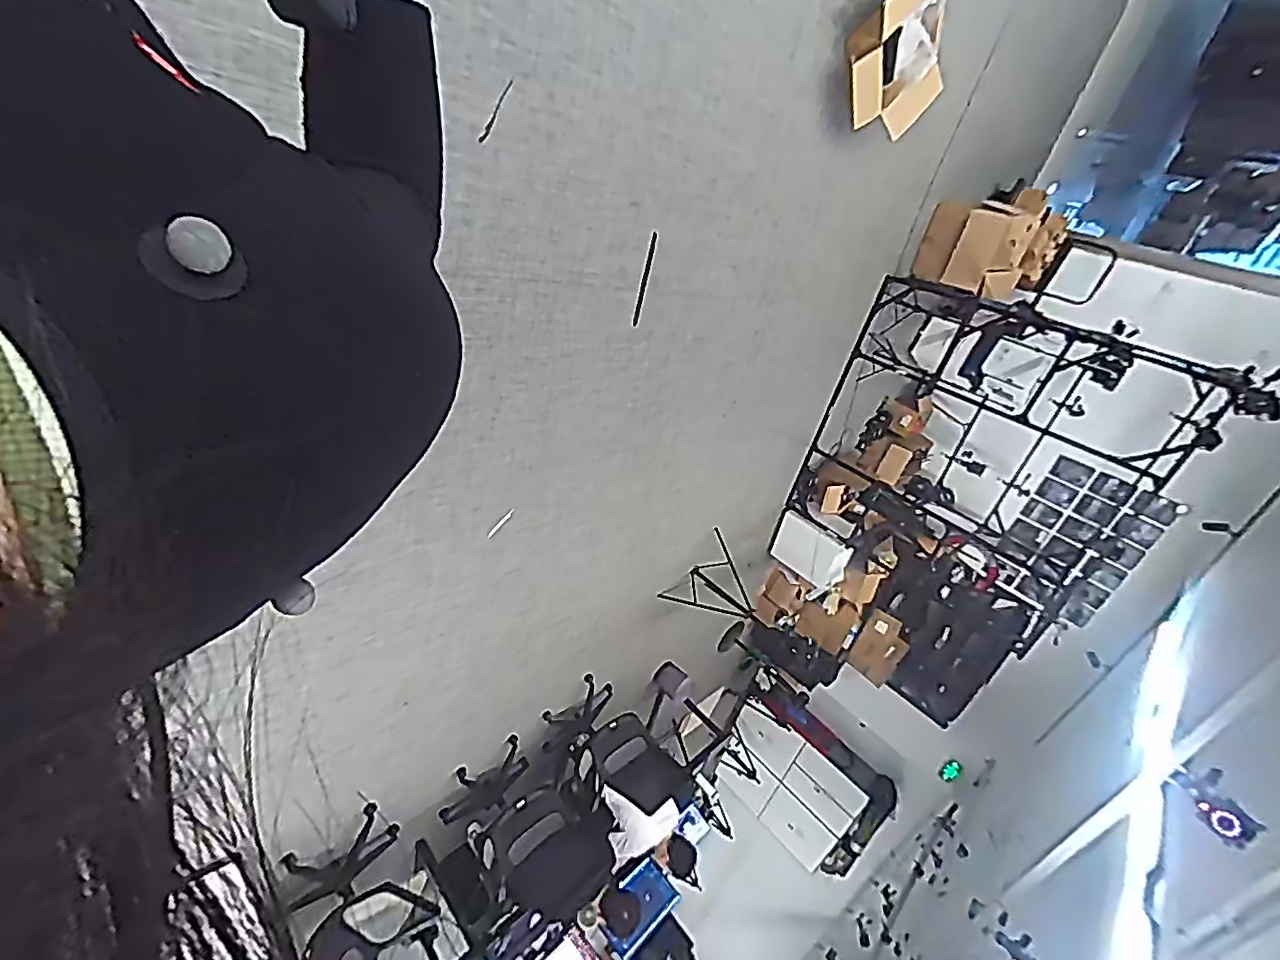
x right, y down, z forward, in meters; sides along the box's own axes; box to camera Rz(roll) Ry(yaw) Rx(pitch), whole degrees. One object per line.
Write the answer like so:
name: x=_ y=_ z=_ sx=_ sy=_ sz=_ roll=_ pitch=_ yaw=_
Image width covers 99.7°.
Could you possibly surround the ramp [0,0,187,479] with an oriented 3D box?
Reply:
ramp: x=-1.224 y=-0.394 z=1.030 sx=0.509 sy=0.206 sz=0.991 roll=-18 pitch=133 yaw=-44
